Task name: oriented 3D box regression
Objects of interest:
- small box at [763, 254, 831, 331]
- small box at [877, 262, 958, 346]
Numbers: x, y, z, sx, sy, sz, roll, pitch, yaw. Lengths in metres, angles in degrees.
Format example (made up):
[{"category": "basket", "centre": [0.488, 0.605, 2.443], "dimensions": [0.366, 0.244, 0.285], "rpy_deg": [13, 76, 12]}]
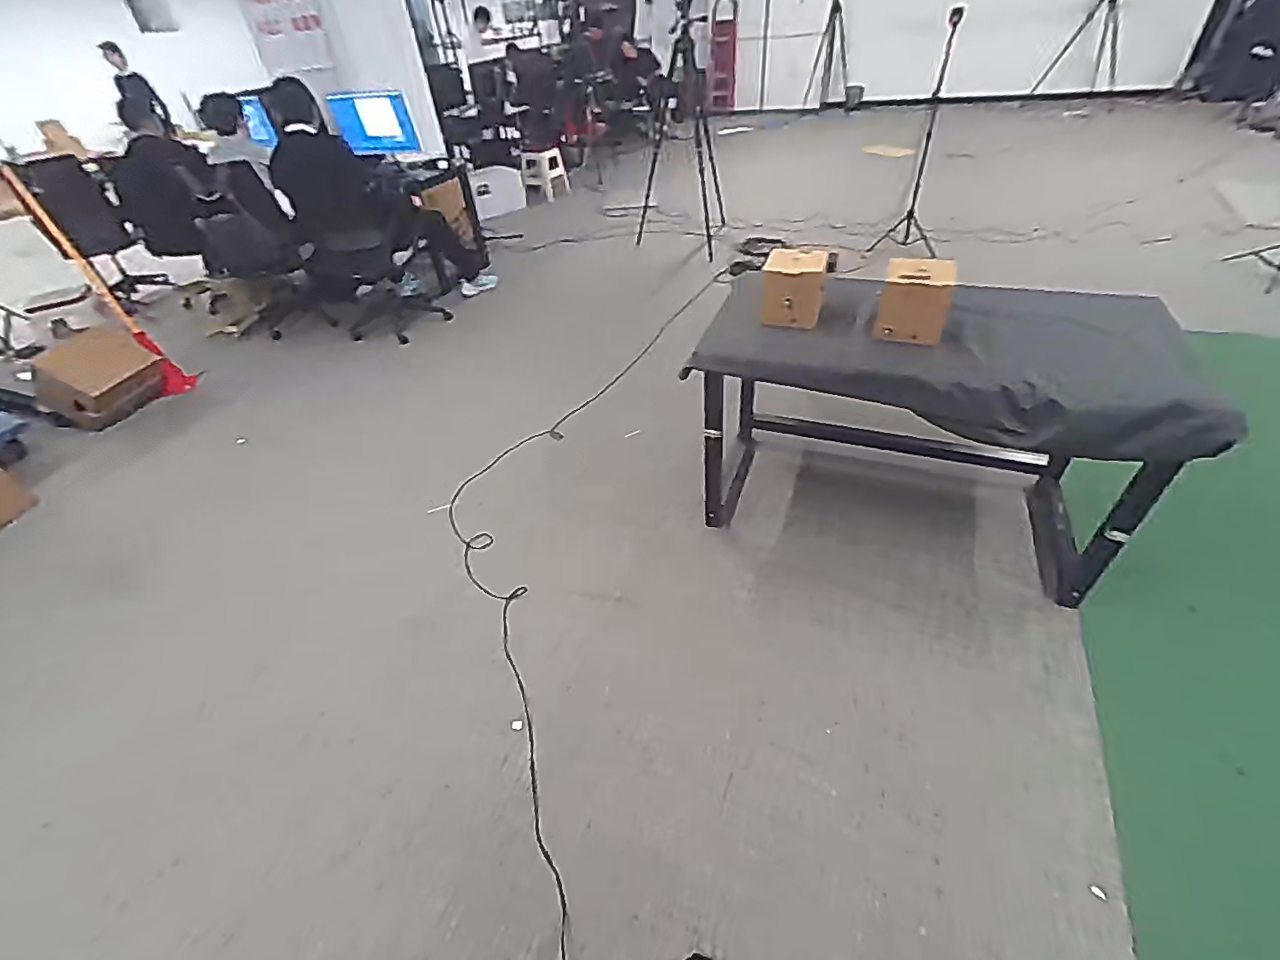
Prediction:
[{"category": "small box", "centre": [0.468, -0.562, 1.621], "dimensions": [0.168, 0.176, 0.179], "rpy_deg": [11, 44, 19]}, {"category": "small box", "centre": [0.762, -0.485, 1.490], "dimensions": [0.168, 0.176, 0.179], "rpy_deg": [13, 44, 22]}]
